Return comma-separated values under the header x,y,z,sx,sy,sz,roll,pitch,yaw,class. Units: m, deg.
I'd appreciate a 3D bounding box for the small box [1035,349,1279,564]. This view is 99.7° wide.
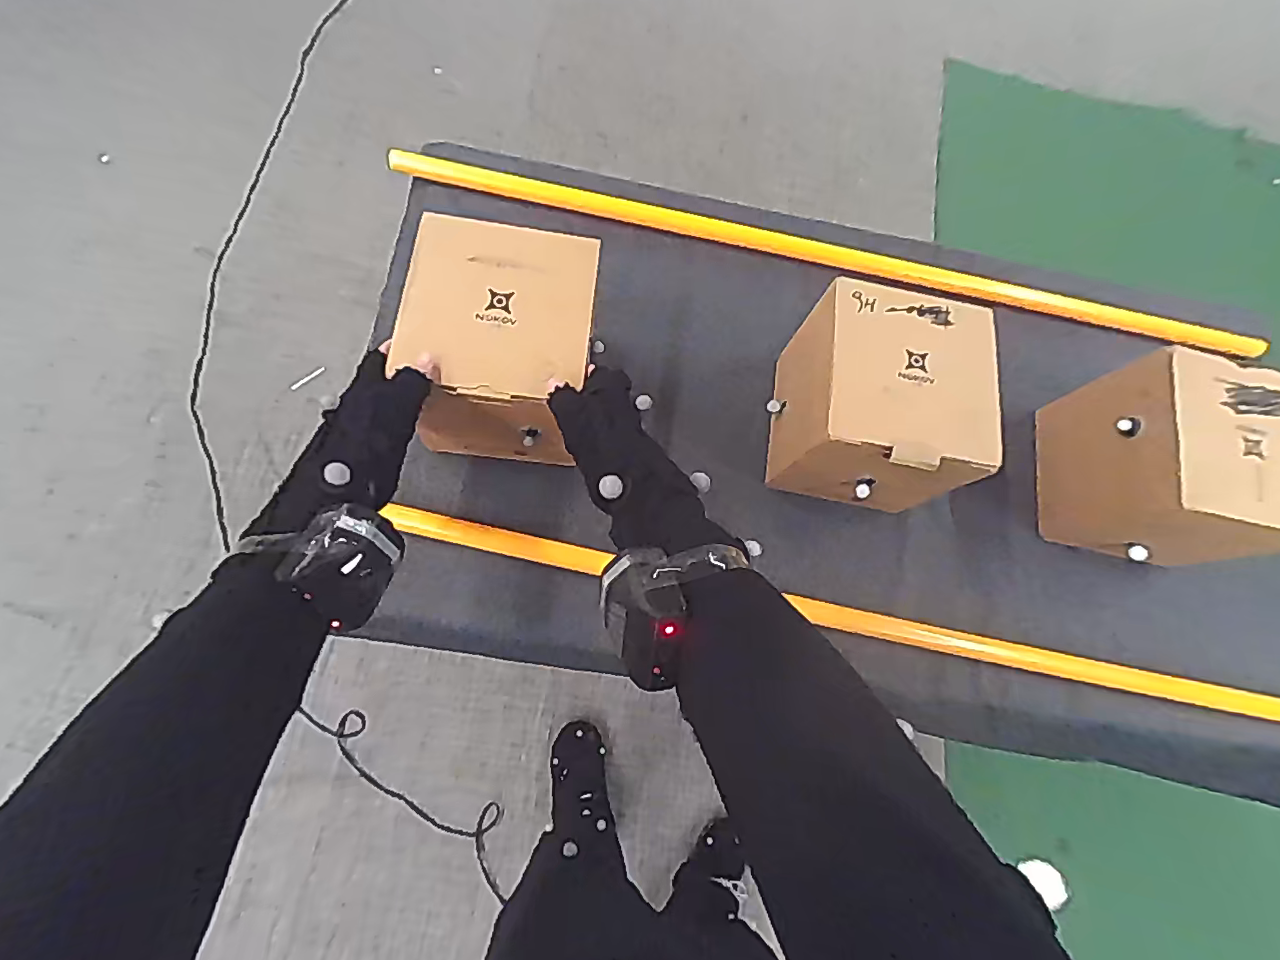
x,y,z,sx,sy,sz,roll,pitch,yaw,class
0.583,-0.015,0.608,0.168,0.176,0.179,12,73,-3,small box

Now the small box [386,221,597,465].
x,y,z,sx,sy,sz,roll,pitch,yaw,class
-0.137,-0.126,0.558,0.168,0.176,0.179,6,71,-7,small box

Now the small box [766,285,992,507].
x,y,z,sx,sy,sz,roll,pitch,yaw,class
0.244,-0.078,0.591,0.168,0.176,0.179,7,72,-3,small box
